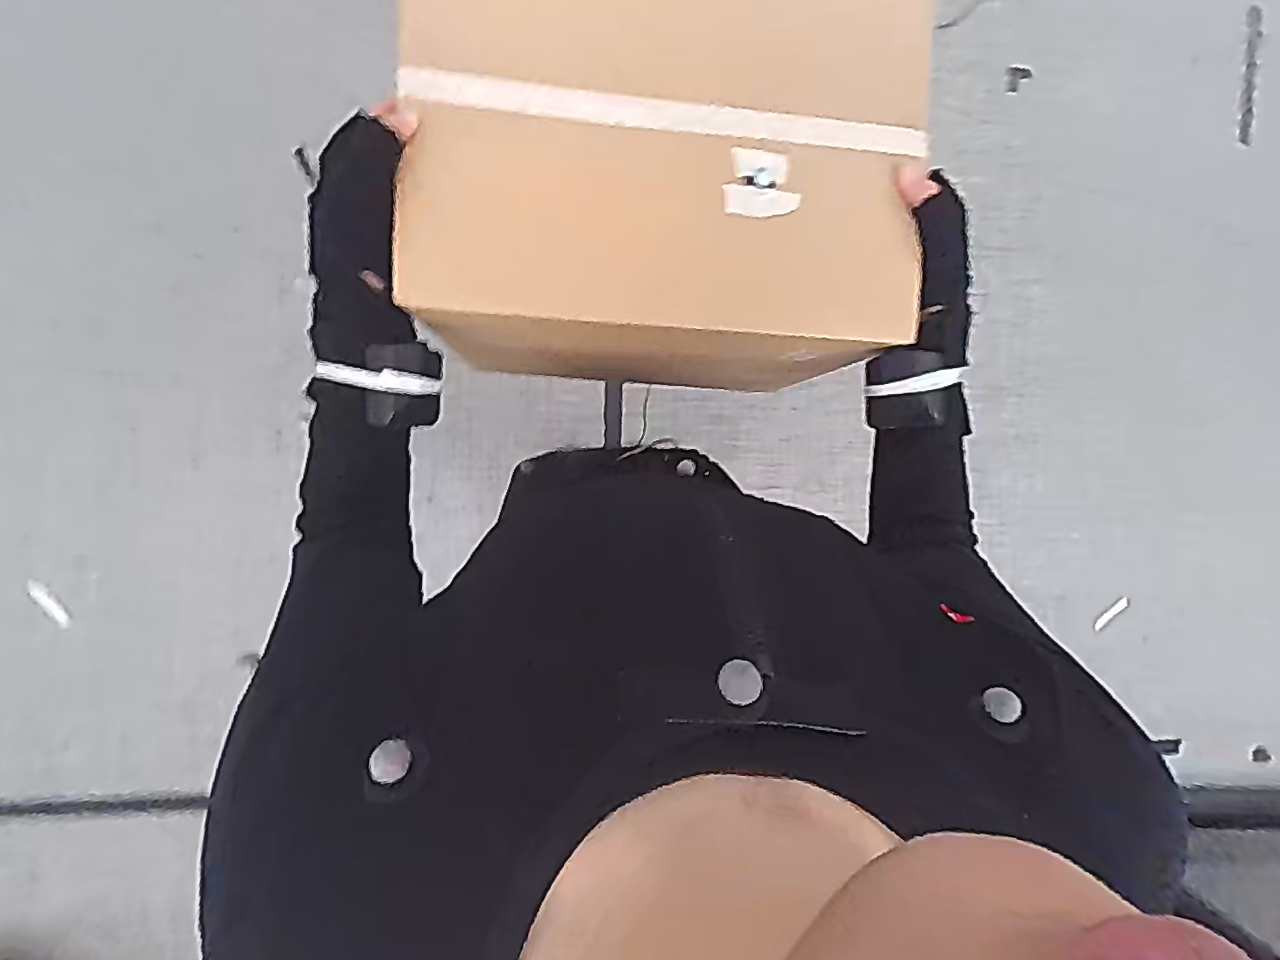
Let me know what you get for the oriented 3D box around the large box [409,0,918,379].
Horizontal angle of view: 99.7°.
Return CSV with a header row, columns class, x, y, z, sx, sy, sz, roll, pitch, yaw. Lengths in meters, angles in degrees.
class,x,y,z,sx,sy,sz,roll,pitch,yaw
large box,0.007,-0.289,0.569,0.408,0.320,0.320,2,93,-8
